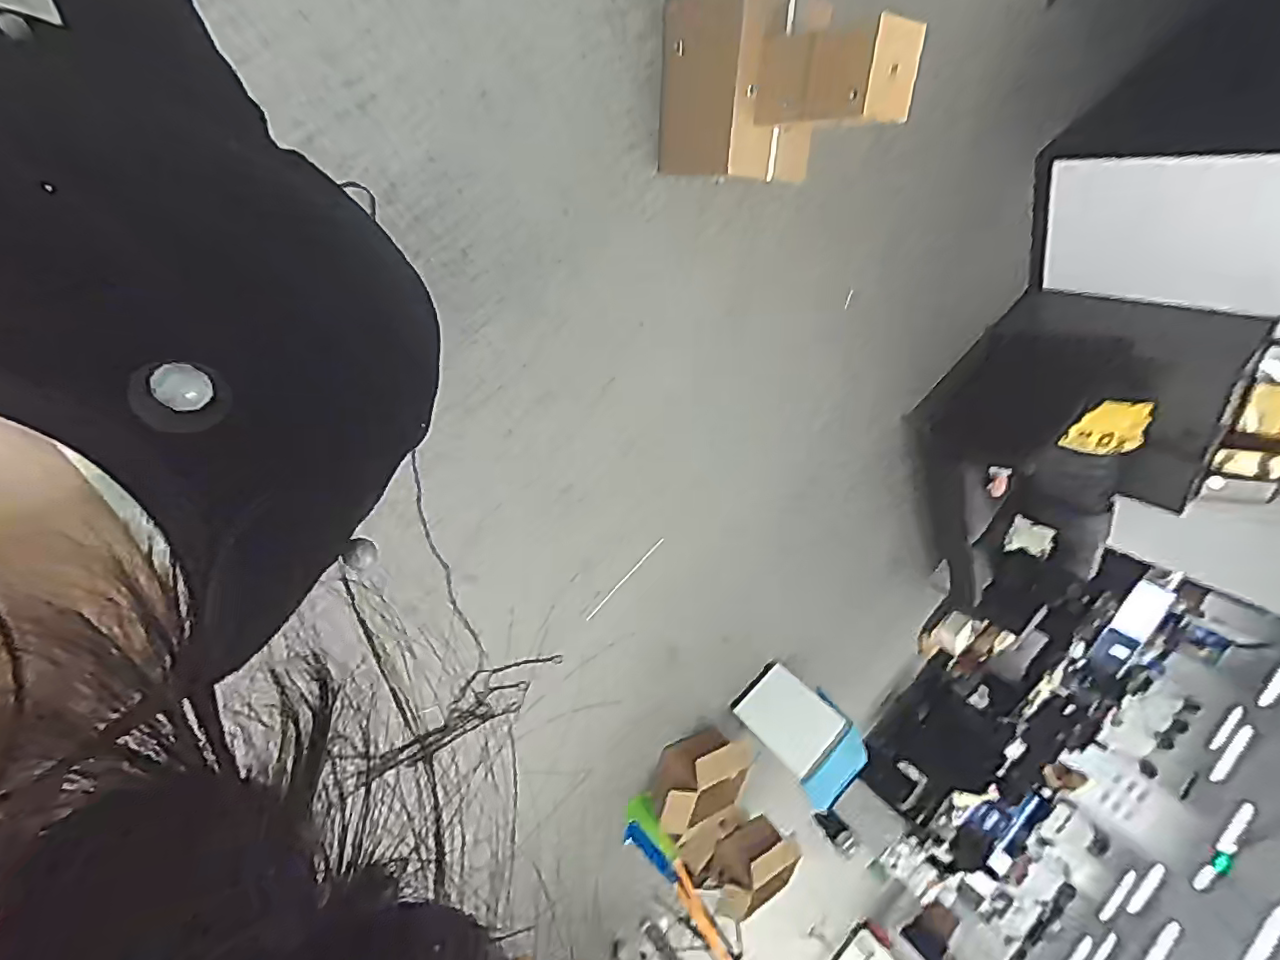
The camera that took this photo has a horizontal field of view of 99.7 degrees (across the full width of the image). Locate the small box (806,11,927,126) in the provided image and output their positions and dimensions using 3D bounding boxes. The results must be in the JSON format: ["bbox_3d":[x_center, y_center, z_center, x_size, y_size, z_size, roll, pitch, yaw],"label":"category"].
[{"bbox_3d":[0.495,-0.903,1.202,0.168,0.176,0.179,-18,125,-30],"label":"small box"}]
